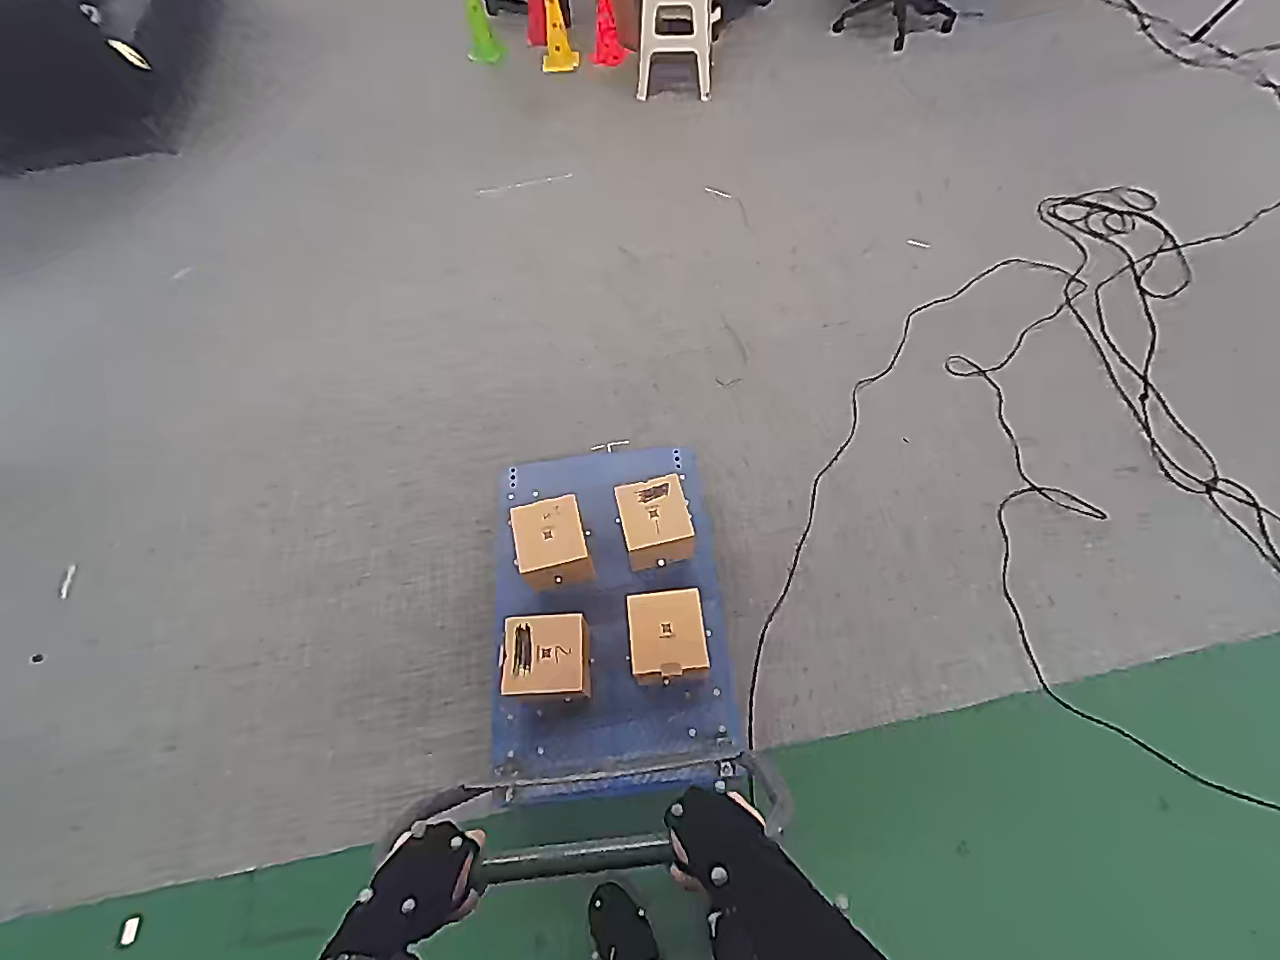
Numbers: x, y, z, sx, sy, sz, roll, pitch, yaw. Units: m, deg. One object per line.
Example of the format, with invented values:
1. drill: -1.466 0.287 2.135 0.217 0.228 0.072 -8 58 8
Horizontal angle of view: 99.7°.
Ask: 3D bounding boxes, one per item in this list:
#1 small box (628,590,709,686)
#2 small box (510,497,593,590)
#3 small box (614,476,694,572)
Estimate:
1. small box: 0.061 0.371 1.261 0.168 0.176 0.179 -7 63 -1
2. small box: -0.221 0.169 1.375 0.168 0.176 0.179 -13 63 -5
3. small box: 0.034 0.117 1.391 0.168 0.176 0.179 -13 63 -4
